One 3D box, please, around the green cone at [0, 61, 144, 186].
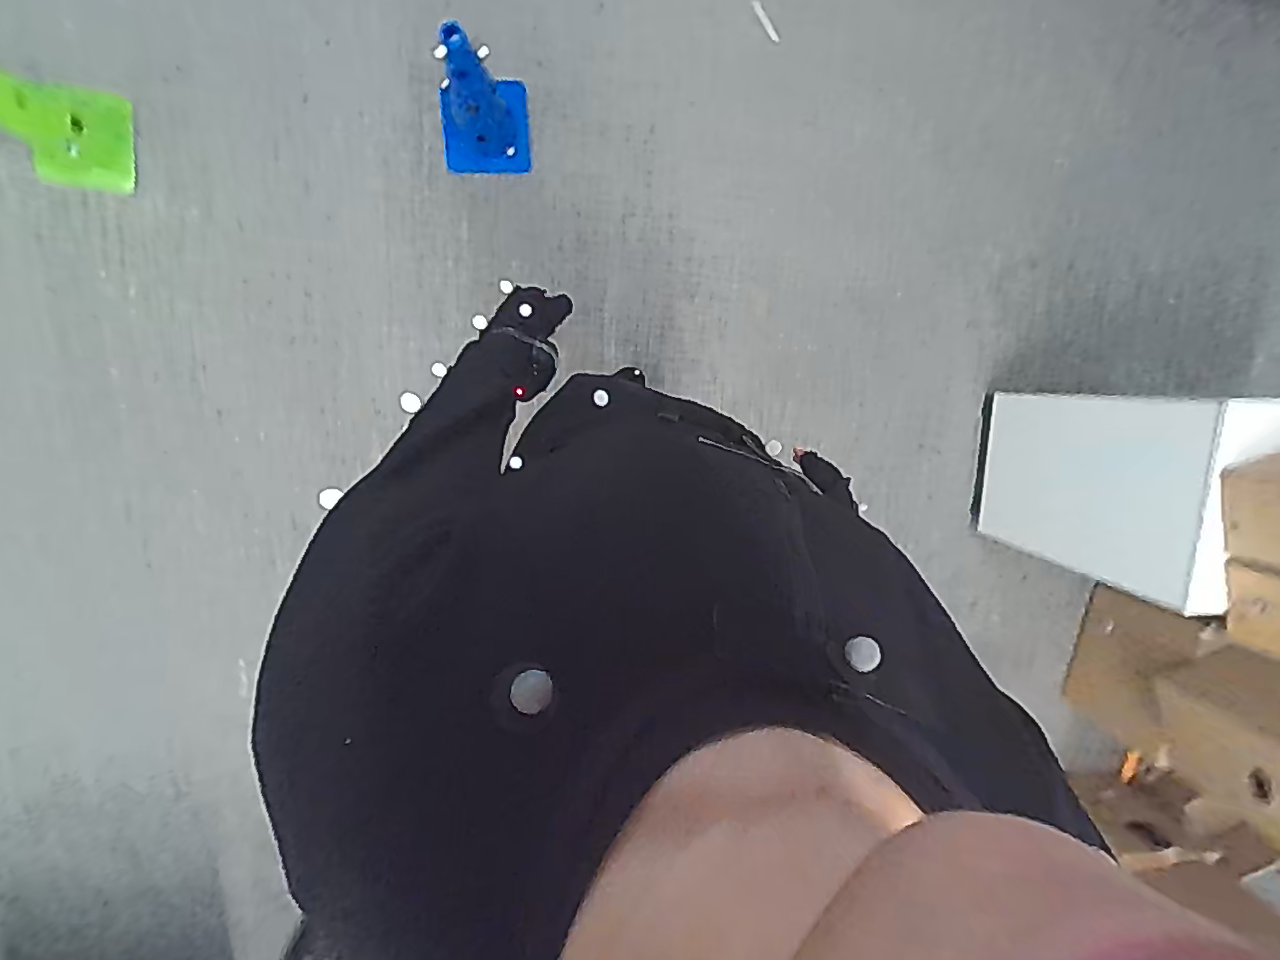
[{"bbox_3d":[-1.196,-0.739,1.030,0.202,0.368,0.200,5,100,-7],"label":"green cone"}]
